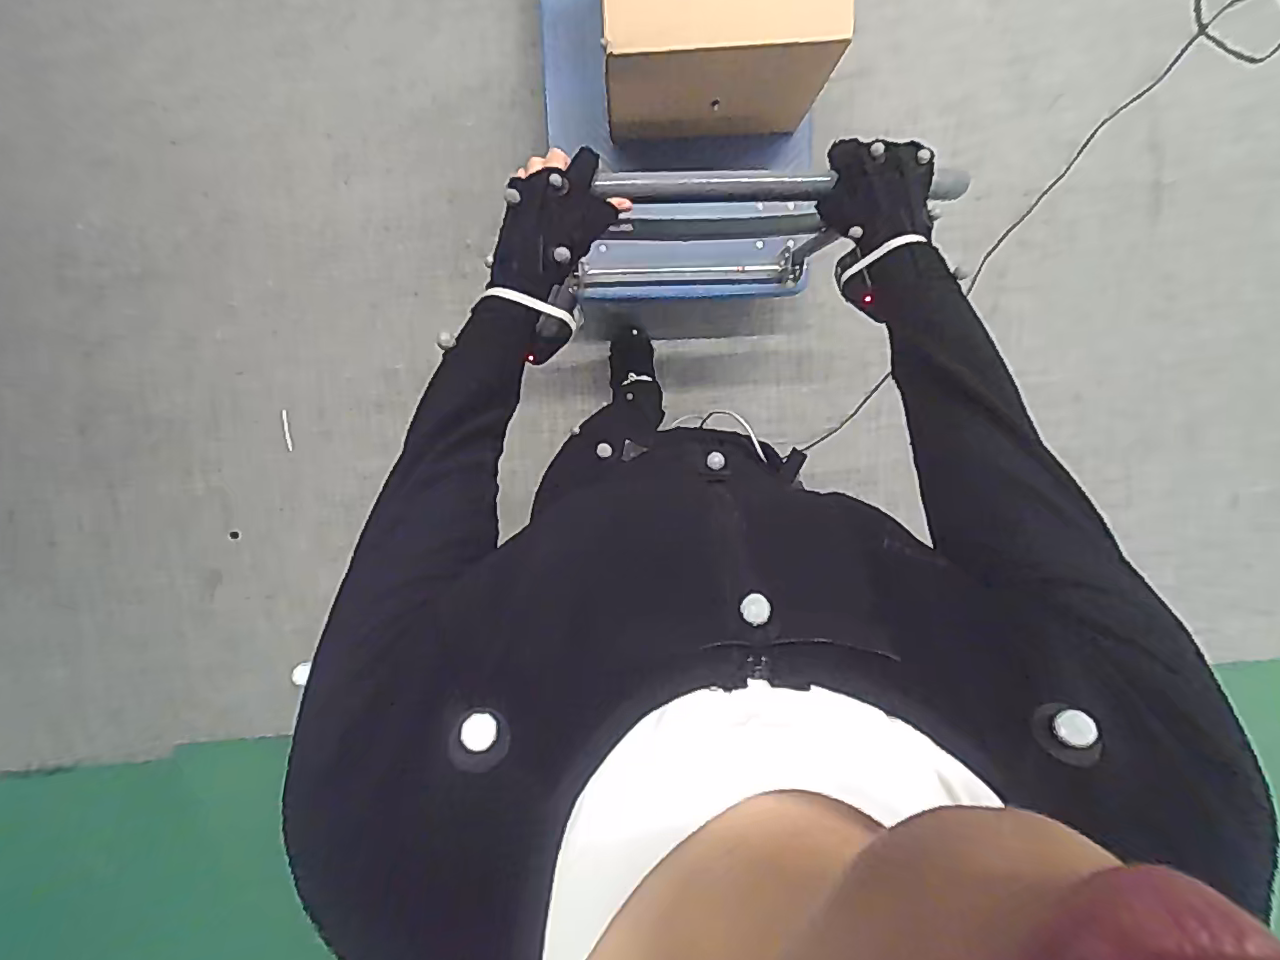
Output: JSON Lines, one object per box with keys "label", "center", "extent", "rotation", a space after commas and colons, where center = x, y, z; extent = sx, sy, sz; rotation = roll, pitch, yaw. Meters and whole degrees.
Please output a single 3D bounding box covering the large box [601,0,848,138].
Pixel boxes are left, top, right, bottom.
{"label": "large box", "center": [0.133, -0.886, 1.010], "extent": [0.408, 0.320, 0.320], "rotation": [-5, 99, 1]}
